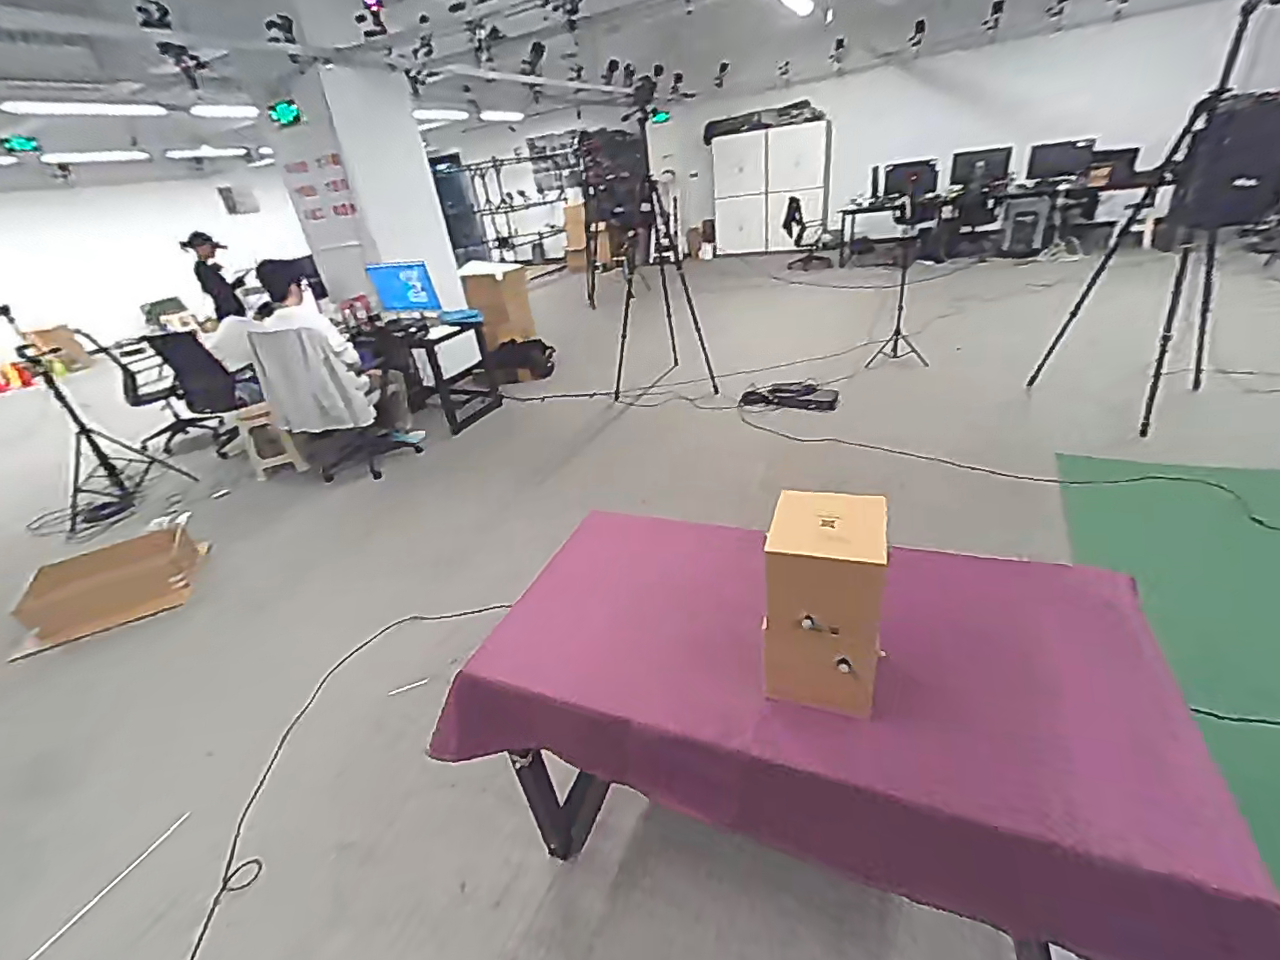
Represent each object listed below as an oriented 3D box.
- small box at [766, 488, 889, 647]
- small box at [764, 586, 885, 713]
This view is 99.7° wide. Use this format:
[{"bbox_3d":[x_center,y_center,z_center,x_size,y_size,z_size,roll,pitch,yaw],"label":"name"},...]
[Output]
[{"bbox_3d":[0.300,0.133,0.864,0.168,0.176,0.179,4,33,23],"label":"small box"},{"bbox_3d":[0.321,0.275,0.943,0.179,0.176,0.168,5,32,23],"label":"small box"}]
